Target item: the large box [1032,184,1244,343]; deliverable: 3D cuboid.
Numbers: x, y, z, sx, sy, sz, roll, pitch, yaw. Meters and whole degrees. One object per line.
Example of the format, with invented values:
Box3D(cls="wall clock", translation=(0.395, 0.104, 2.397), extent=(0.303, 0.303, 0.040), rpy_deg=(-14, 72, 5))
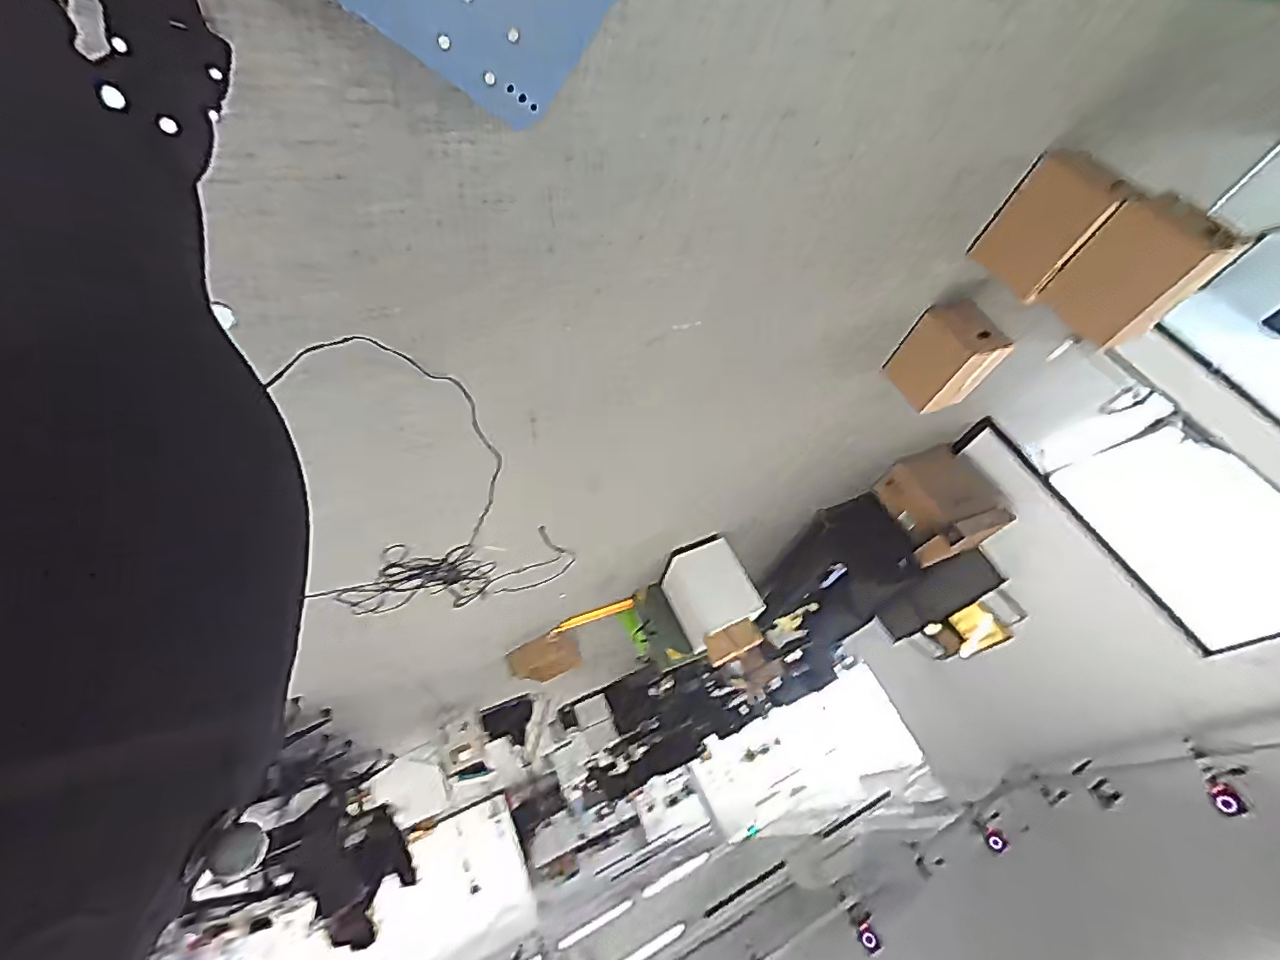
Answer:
Box3D(cls="large box", translation=(1.745, -0.769, 1.927), extent=(0.320, 0.320, 0.408), rpy_deg=(-19, 154, -24))
